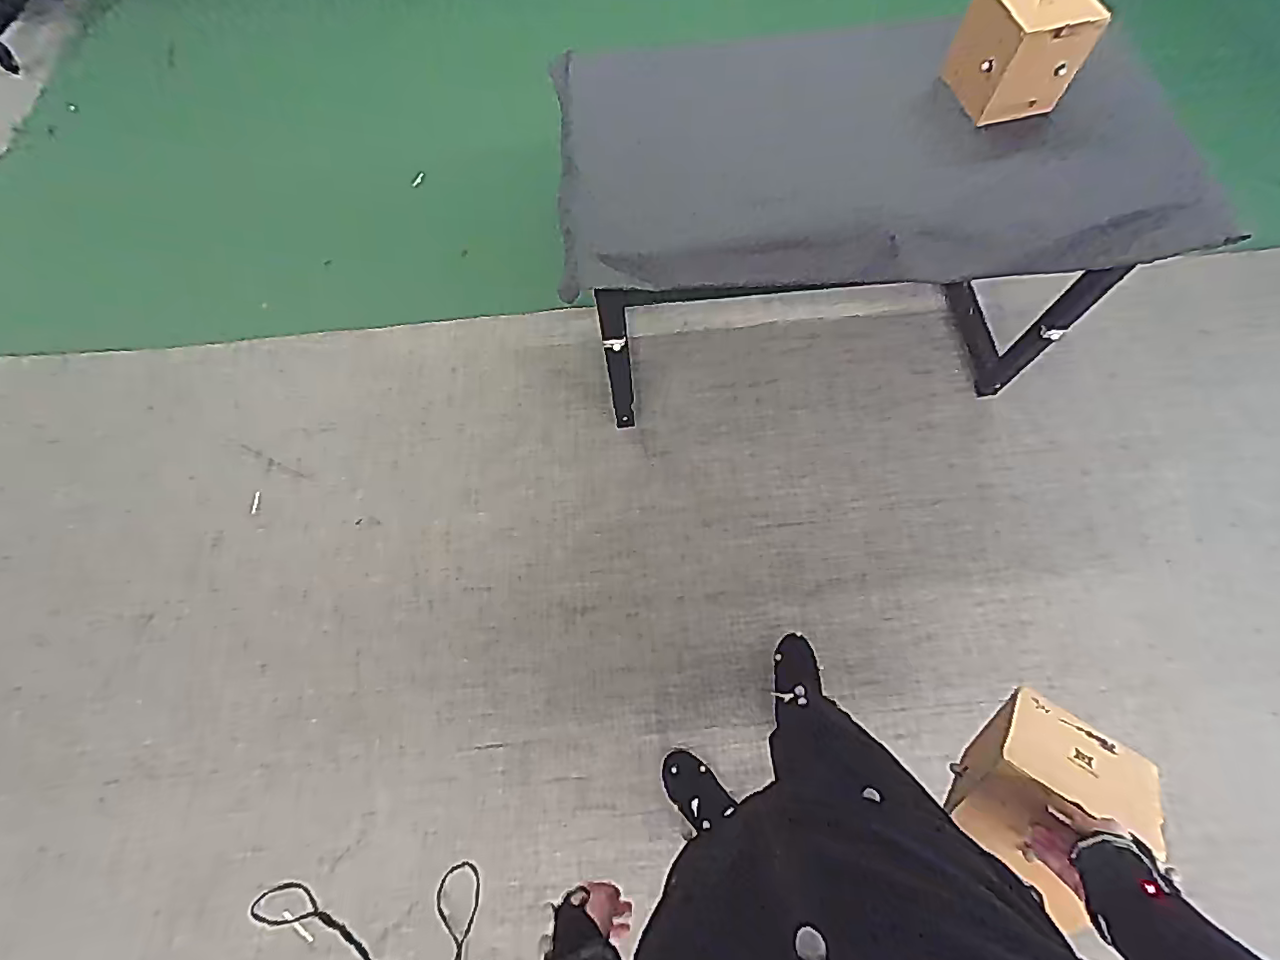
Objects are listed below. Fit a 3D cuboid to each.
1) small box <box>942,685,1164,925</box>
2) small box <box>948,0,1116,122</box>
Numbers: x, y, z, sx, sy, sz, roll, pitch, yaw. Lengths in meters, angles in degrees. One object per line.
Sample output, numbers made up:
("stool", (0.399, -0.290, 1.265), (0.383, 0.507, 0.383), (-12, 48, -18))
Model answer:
("small box", (0.528, 0.417, 0.706), (0.168, 0.176, 0.179), (35, 34, 30))
("small box", (0.745, -0.829, 1.050), (0.168, 0.176, 0.179), (-12, 67, -4))
